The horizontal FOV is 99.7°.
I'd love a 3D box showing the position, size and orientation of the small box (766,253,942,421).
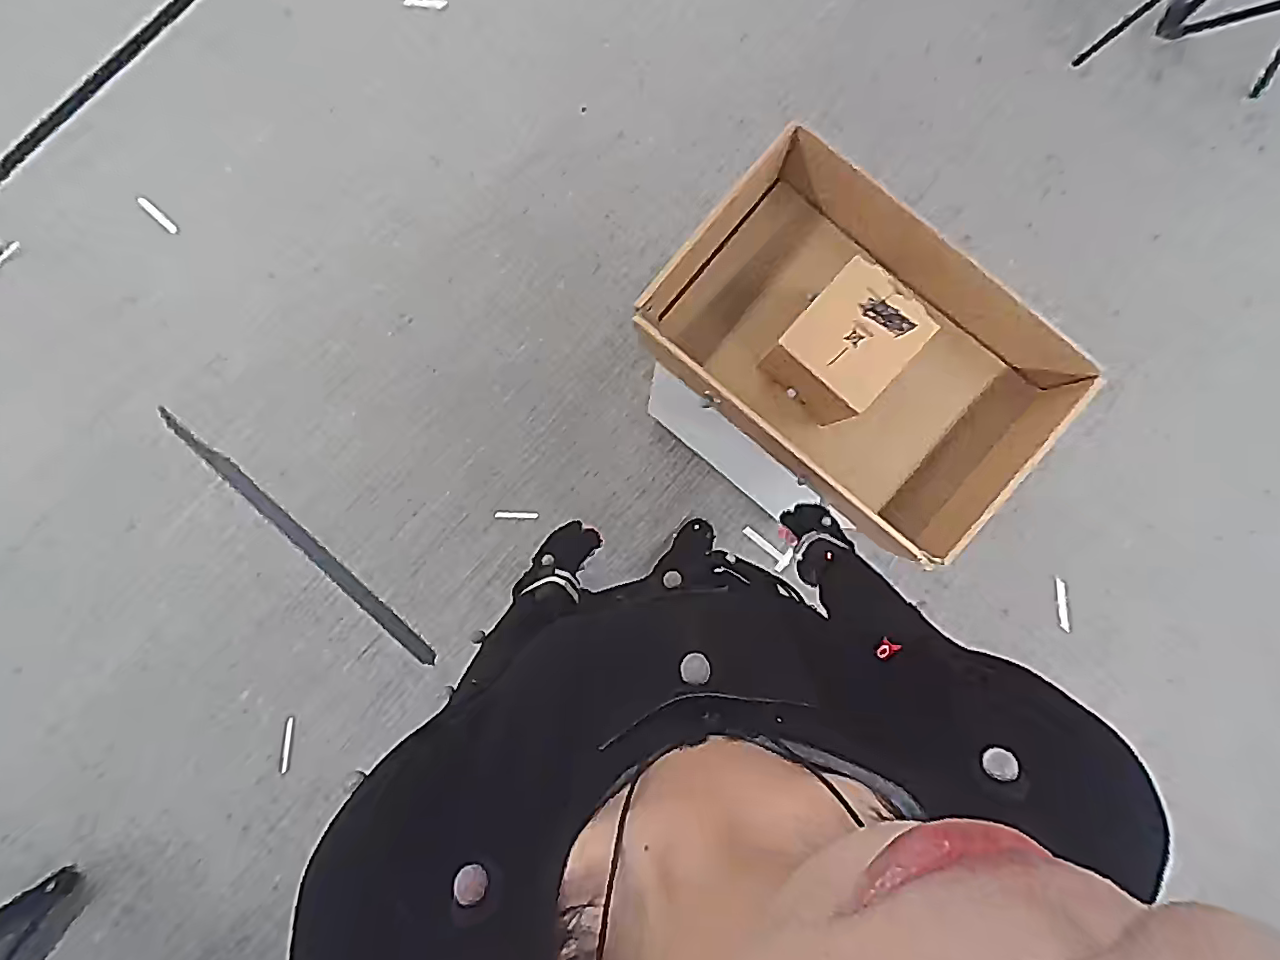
[{"bbox_3d":[0.326,-0.216,0.867,0.168,0.176,0.179,42,91,2],"label":"small box"}]
